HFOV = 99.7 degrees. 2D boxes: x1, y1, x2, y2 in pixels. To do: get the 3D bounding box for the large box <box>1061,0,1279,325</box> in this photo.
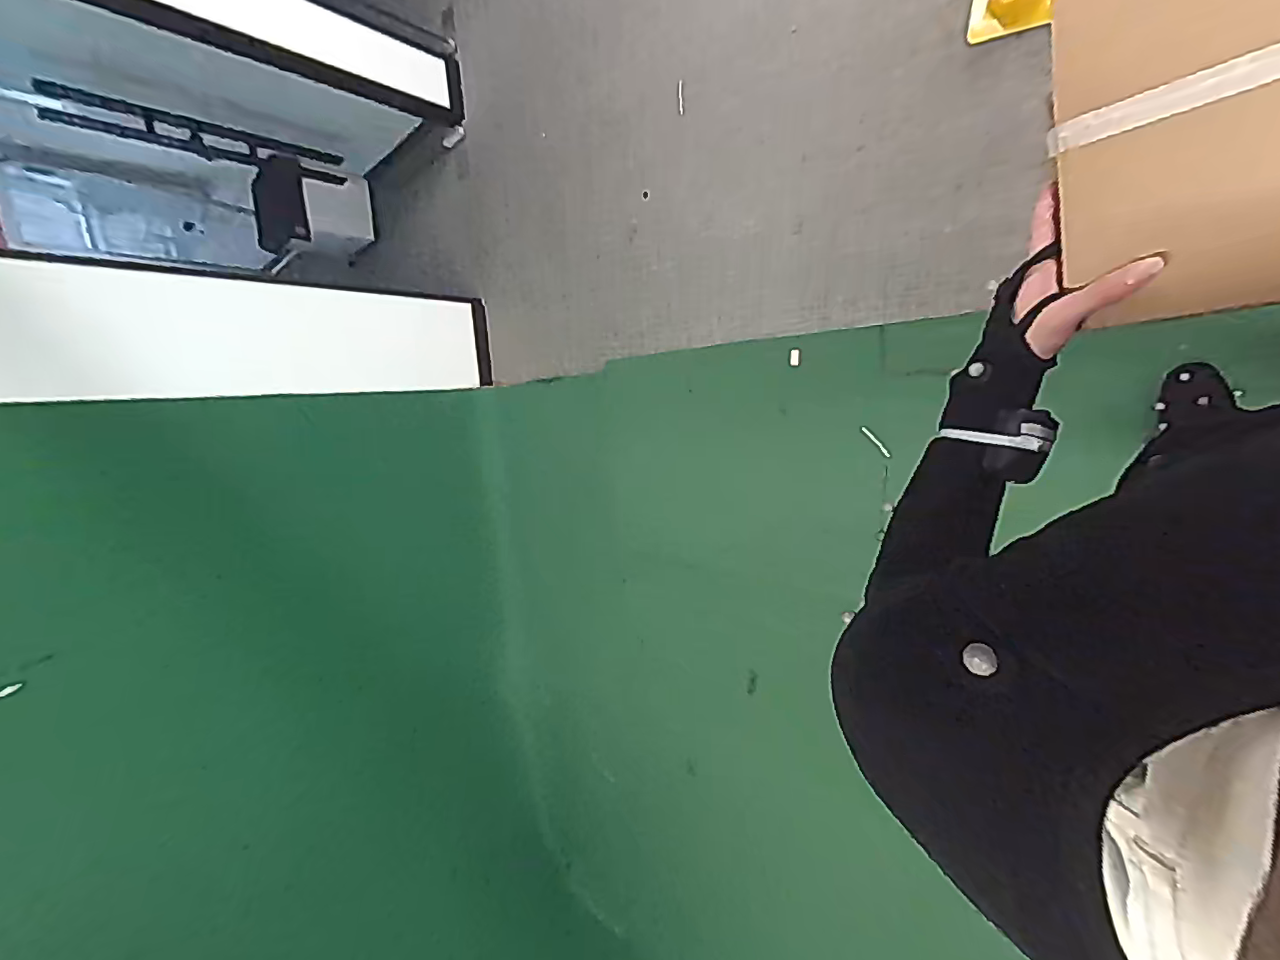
[{"bbox_3d":[0.588,-0.323,0.396,0.408,0.320,0.320,1,108,46],"label":"large box"}]
